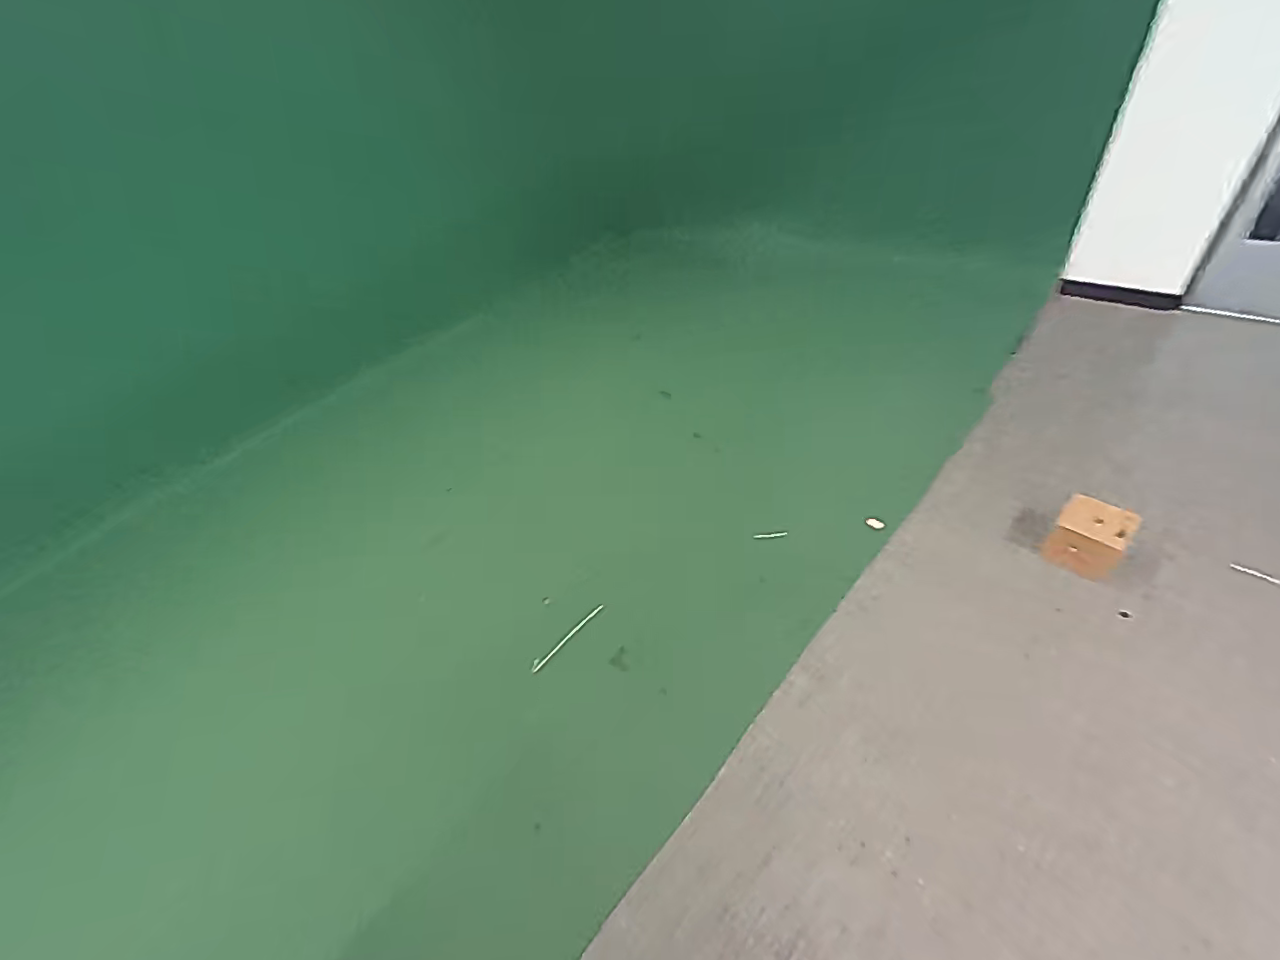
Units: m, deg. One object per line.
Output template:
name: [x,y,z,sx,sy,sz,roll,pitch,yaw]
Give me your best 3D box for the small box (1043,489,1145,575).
small box: [1.392,0.163,1.668,0.168,0.176,0.179,-40,49,-23]
